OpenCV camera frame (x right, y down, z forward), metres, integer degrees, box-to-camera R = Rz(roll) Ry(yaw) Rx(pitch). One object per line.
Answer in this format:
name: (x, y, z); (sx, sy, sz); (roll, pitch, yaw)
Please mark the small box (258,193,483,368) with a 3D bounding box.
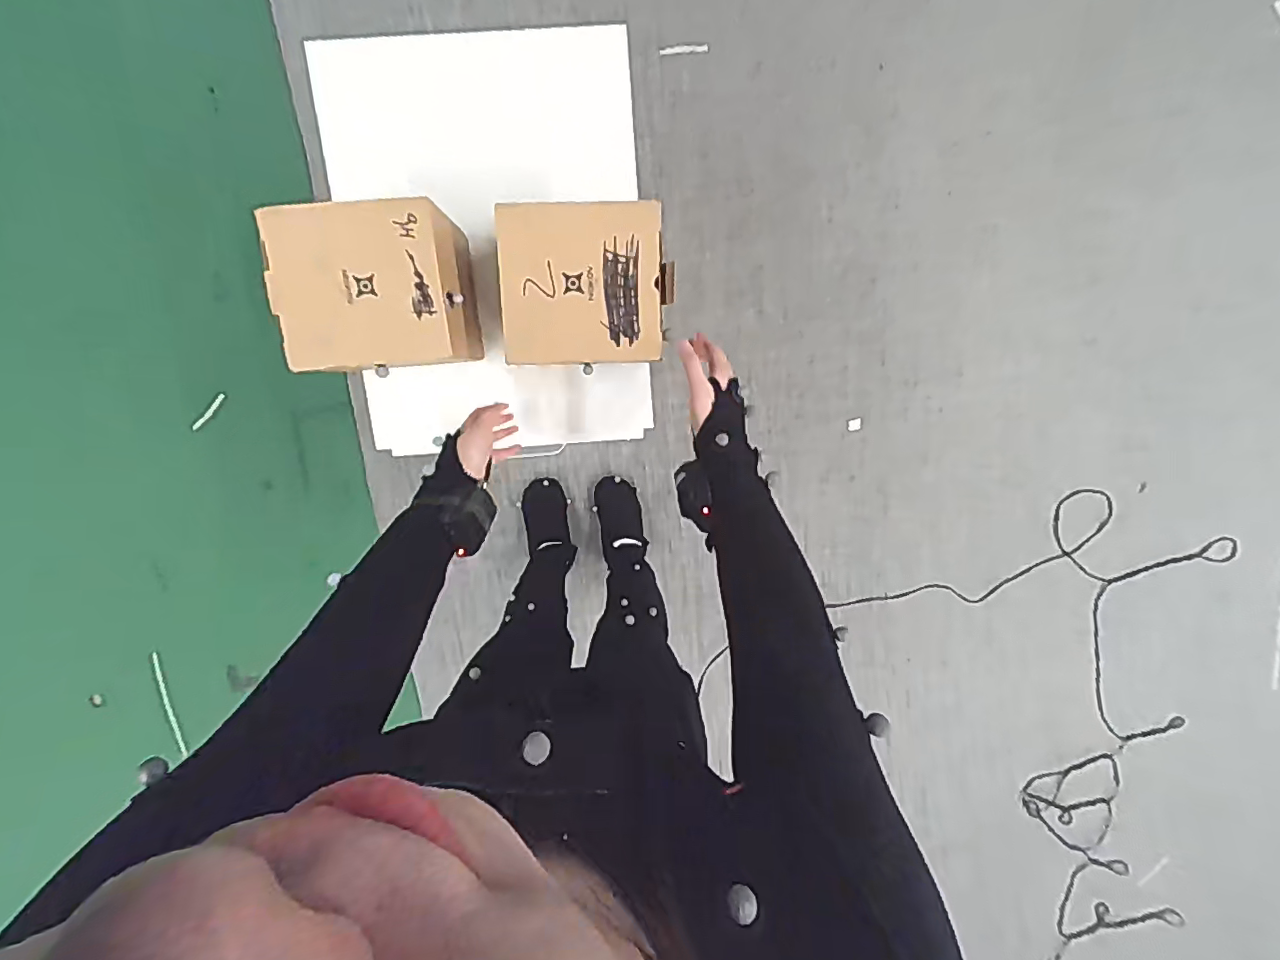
small box: (-0.301, -0.223, 0.644); (0.179, 0.176, 0.168); (-5, 102, -3)
